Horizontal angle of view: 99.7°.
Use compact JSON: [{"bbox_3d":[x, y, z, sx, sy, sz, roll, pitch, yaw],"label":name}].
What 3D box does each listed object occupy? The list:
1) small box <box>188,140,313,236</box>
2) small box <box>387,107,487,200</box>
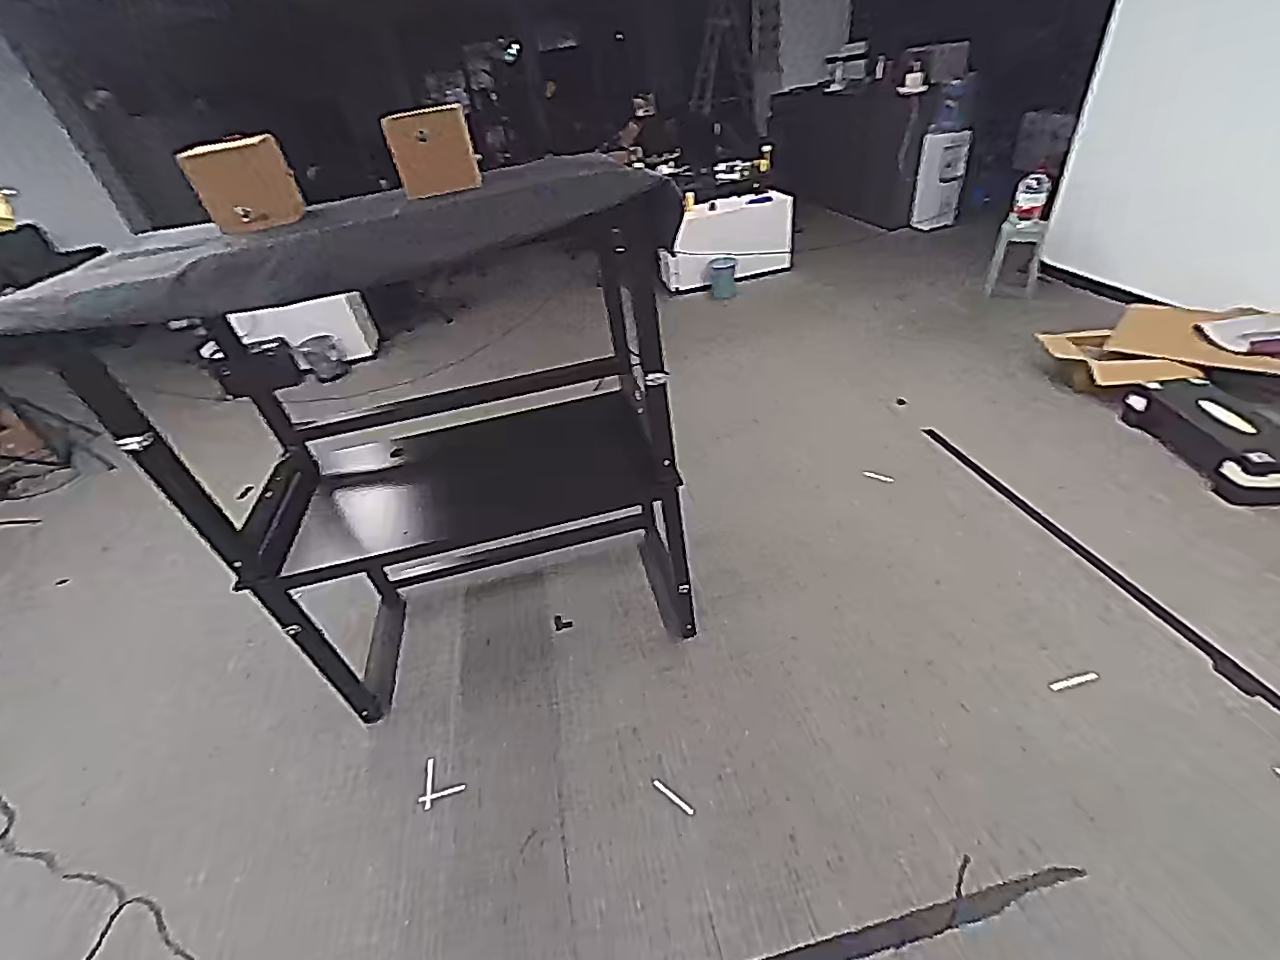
[{"bbox_3d":[-0.907,-0.692,1.283,0.168,0.176,0.179,-19,39,-10],"label":"small box"},{"bbox_3d":[-0.493,-0.808,1.338,0.179,0.176,0.168,-14,39,-5],"label":"small box"}]
